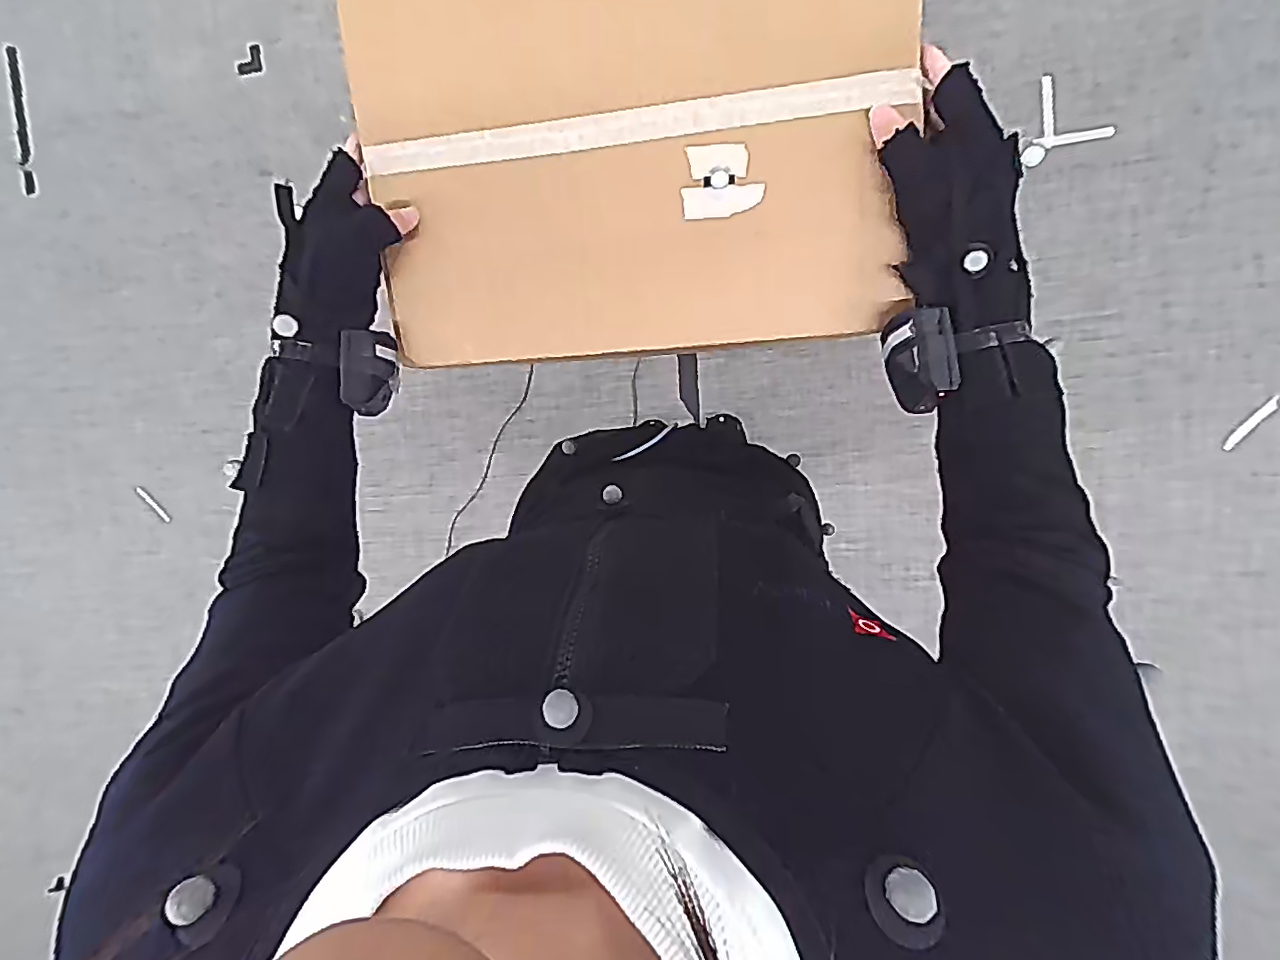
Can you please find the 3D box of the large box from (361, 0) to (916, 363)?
[{"bbox_3d":[0.011,-0.295,0.548,0.408,0.320,0.320,-3,103,7],"label":"large box"}]
